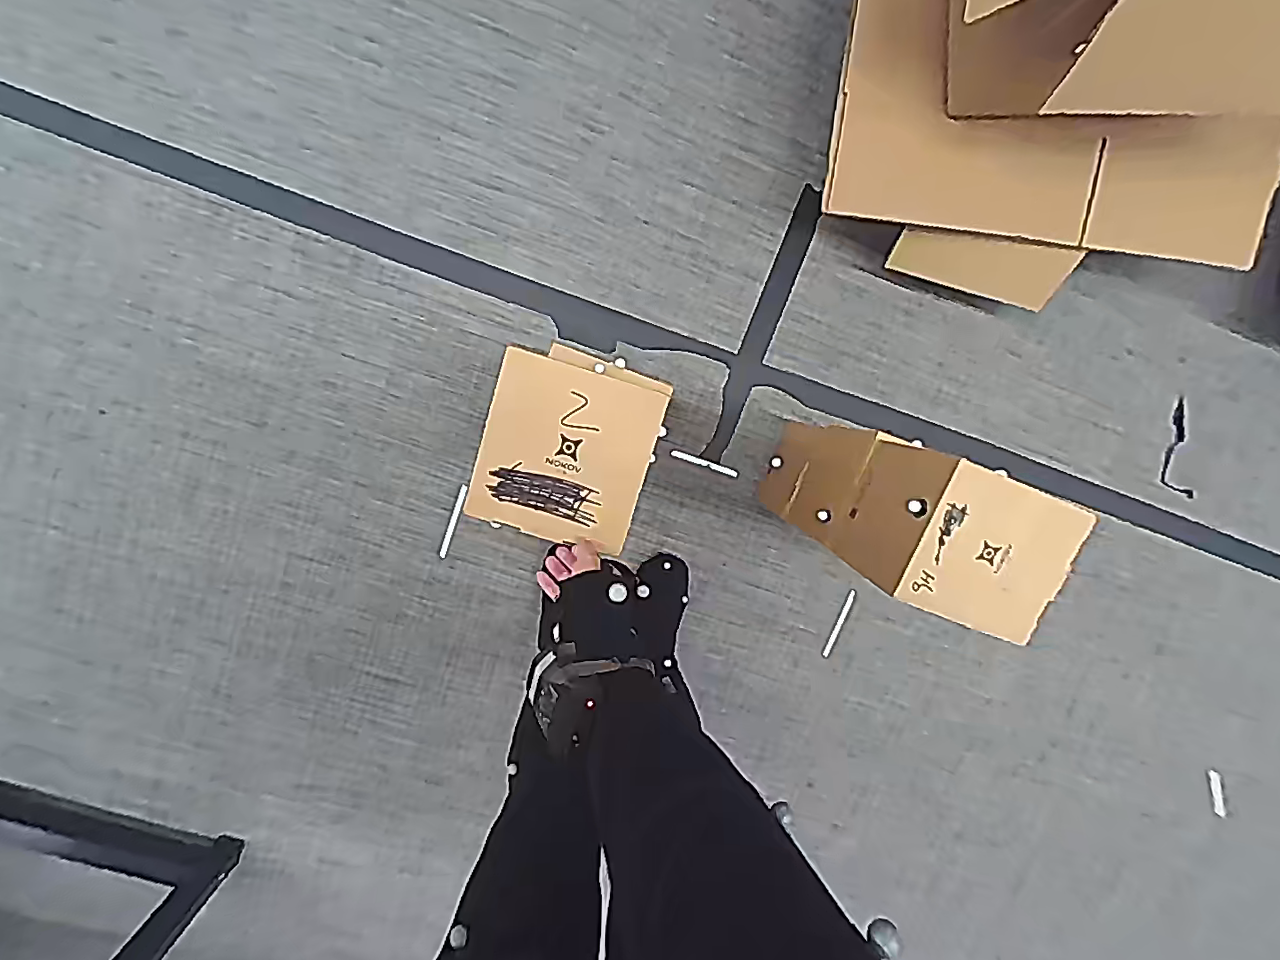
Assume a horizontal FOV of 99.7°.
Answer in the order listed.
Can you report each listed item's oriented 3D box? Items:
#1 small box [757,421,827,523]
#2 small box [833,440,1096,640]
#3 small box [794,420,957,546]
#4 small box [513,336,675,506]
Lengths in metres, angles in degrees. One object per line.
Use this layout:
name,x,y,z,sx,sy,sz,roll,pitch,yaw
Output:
small box,0.340,0.001,0.976,0.179,0.176,0.168,24,98,-8
small box,0.374,0.061,0.657,0.179,0.176,0.168,21,99,-9
small box,0.356,0.019,0.815,0.168,0.176,0.179,19,99,-8
small box,-0.063,-0.085,0.769,0.168,0.176,0.179,20,97,-7
